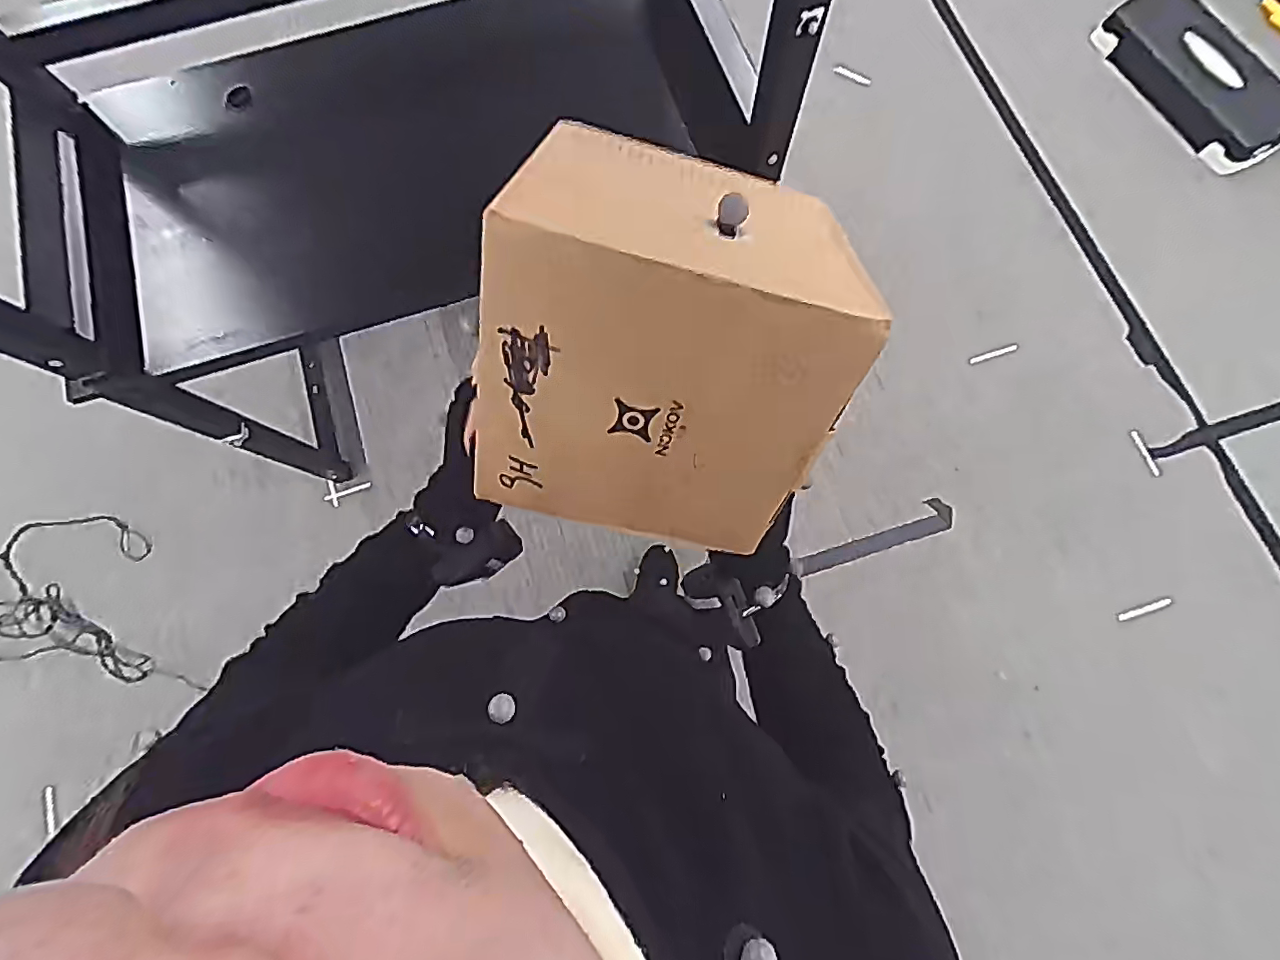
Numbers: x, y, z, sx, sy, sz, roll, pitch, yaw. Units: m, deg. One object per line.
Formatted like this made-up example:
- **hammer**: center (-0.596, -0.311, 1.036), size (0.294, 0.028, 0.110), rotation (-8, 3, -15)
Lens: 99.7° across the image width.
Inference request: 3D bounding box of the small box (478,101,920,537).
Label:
- **small box**: center (0.016, -0.094, 0.318), size (0.179, 0.168, 0.176), rotation (12, 44, -8)
